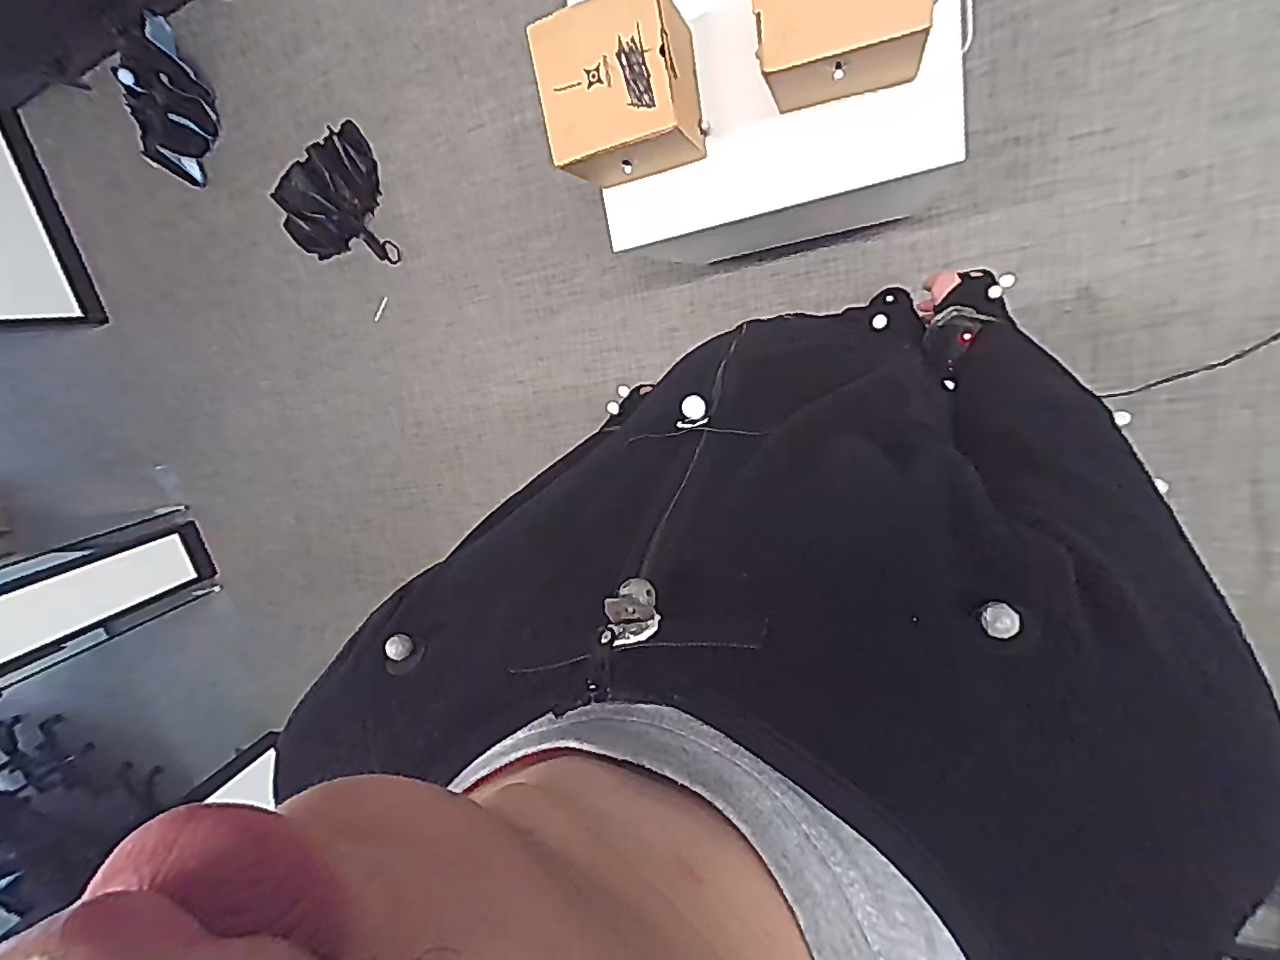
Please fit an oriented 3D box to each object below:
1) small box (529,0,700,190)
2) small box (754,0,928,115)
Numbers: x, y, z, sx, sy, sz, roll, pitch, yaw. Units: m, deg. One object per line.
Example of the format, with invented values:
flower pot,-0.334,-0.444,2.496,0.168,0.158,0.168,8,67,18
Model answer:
small box,-0.022,-0.521,0.746,0.179,0.176,0.168,-4,106,23
small box,0.235,-0.558,0.635,0.179,0.176,0.168,0,109,21
